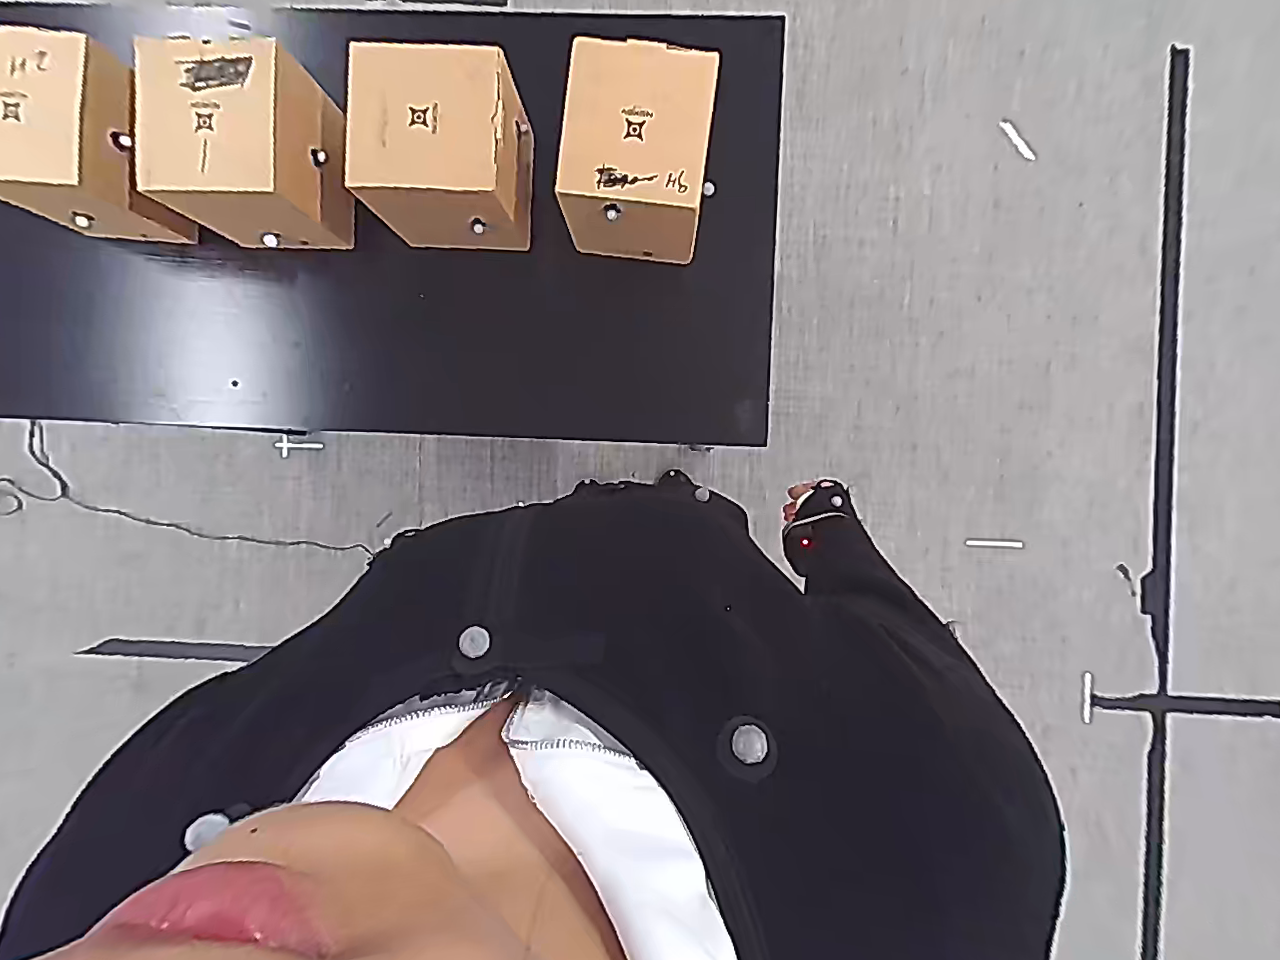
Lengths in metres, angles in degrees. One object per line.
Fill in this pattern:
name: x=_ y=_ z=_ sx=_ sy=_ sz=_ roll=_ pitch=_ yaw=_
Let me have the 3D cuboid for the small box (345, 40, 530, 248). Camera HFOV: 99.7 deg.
small box: x=-0.244 y=-0.413 z=0.692 sx=0.179 sy=0.176 sz=0.168 roll=2 pitch=90 yaw=2

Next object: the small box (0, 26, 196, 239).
small box: x=-0.716 y=-0.435 z=0.702 sx=0.168 sy=0.176 sz=0.179 roll=5 pitch=91 yaw=0

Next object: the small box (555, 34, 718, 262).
small box: x=-0.003 y=-0.403 z=0.683 sx=0.168 sy=0.176 sz=0.179 roll=8 pitch=91 yaw=2

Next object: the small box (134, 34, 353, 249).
small box: x=-0.492 y=-0.420 z=0.696 sx=0.168 sy=0.176 sz=0.179 roll=1 pitch=93 yaw=1
